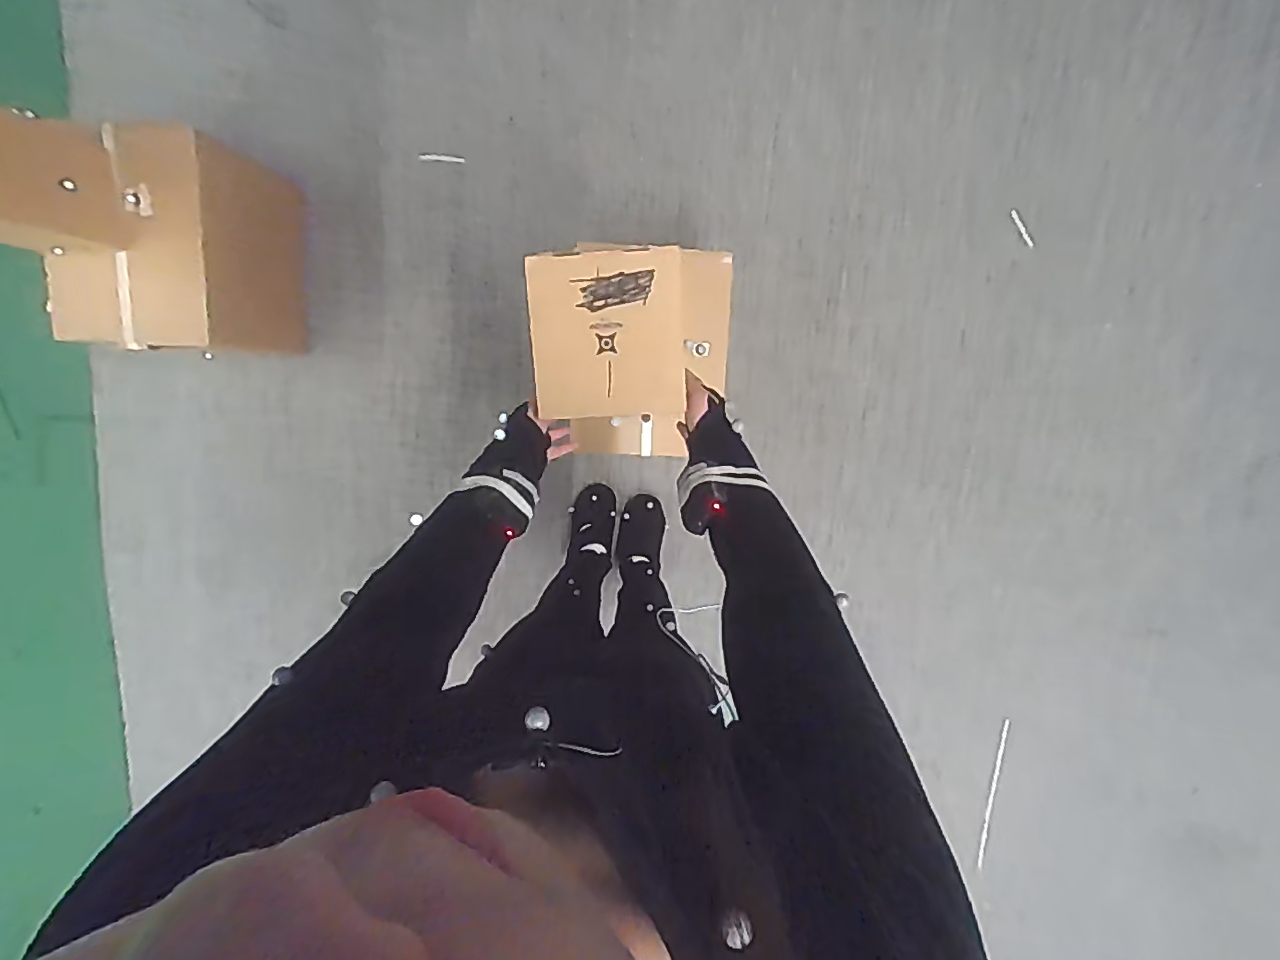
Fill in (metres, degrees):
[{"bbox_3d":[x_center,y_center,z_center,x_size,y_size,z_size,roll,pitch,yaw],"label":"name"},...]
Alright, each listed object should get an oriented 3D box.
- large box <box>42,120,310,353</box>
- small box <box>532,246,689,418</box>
[{"bbox_3d":[-0.979,-0.497,1.191,0.320,0.320,0.408,3,99,0],"label":"large box"},{"bbox_3d":[-0.029,-0.170,0.662,0.168,0.176,0.179,-3,100,3],"label":"small box"}]
